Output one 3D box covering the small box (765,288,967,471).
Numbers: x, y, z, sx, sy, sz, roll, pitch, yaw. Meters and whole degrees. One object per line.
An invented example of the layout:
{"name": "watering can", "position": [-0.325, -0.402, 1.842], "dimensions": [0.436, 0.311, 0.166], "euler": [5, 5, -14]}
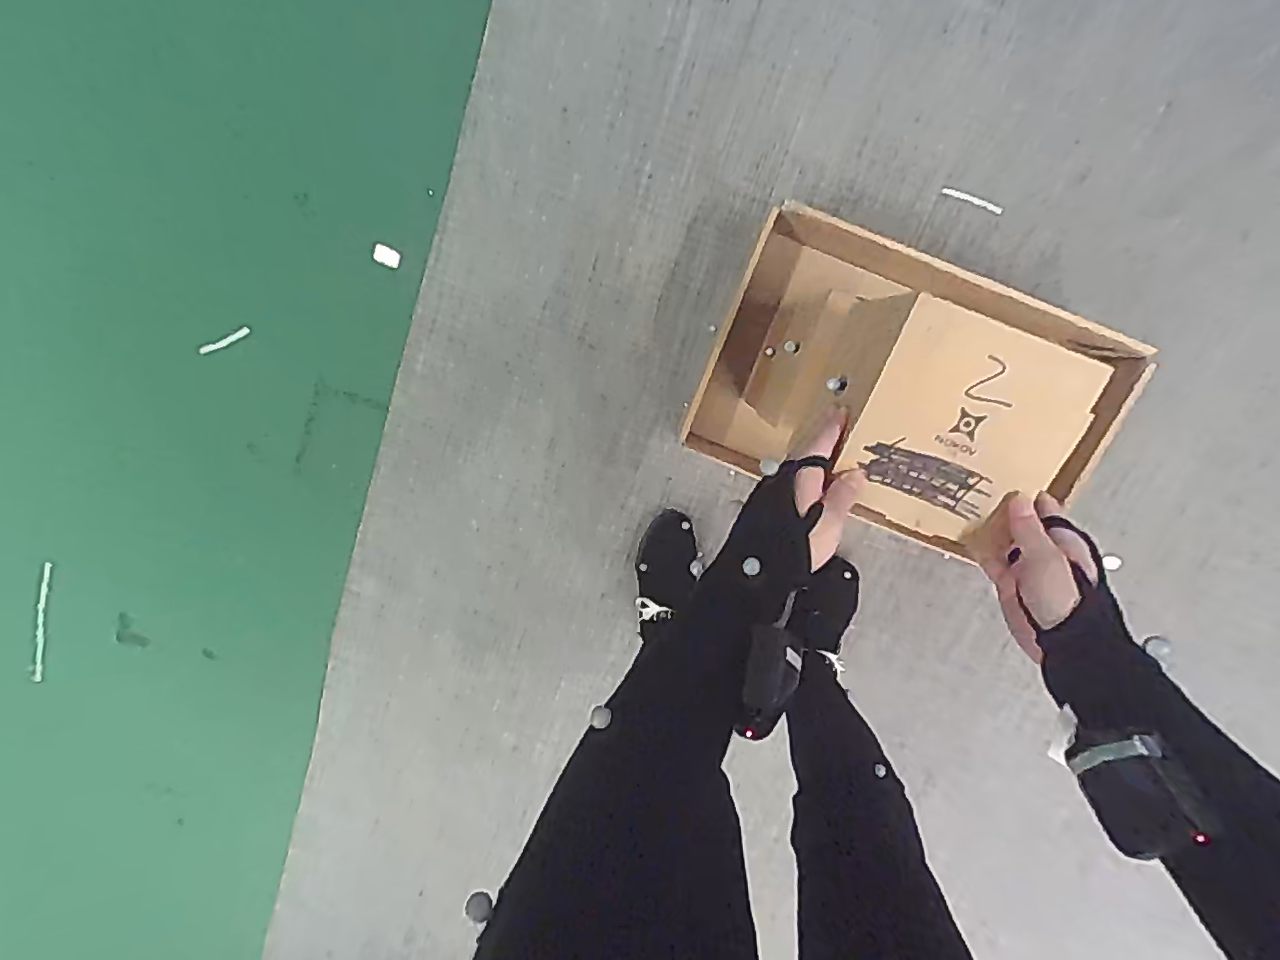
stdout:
{"name": "small box", "position": [0.279, -0.133, 0.717], "dimensions": [0.168, 0.176, 0.179], "euler": [19, 103, -1]}
